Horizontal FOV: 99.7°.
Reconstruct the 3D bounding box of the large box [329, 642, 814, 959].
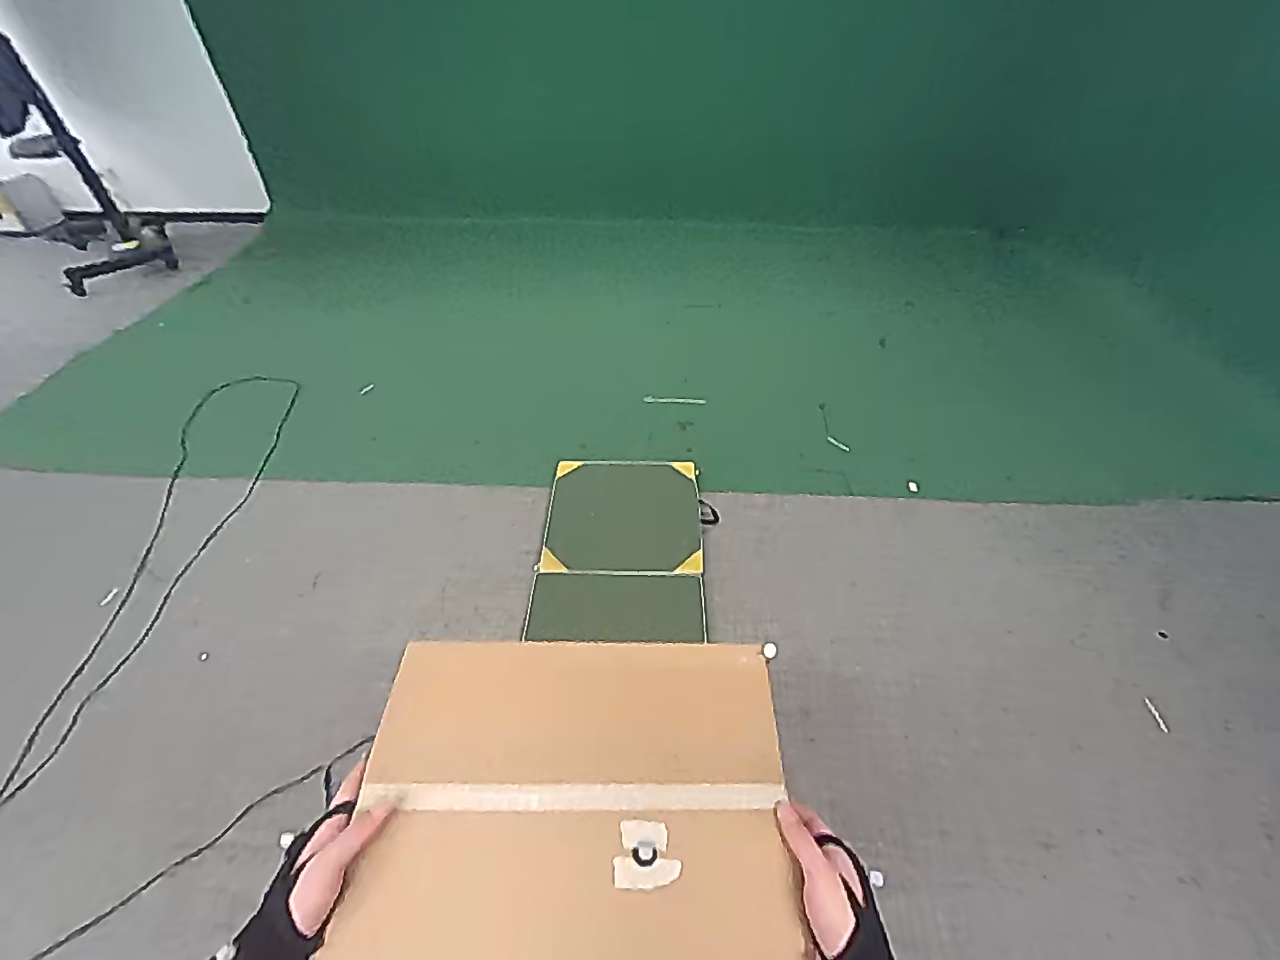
[{"bbox_3d":[-0.062,0.405,0.634,0.408,0.320,0.320,1,47,-1],"label":"large box"}]
